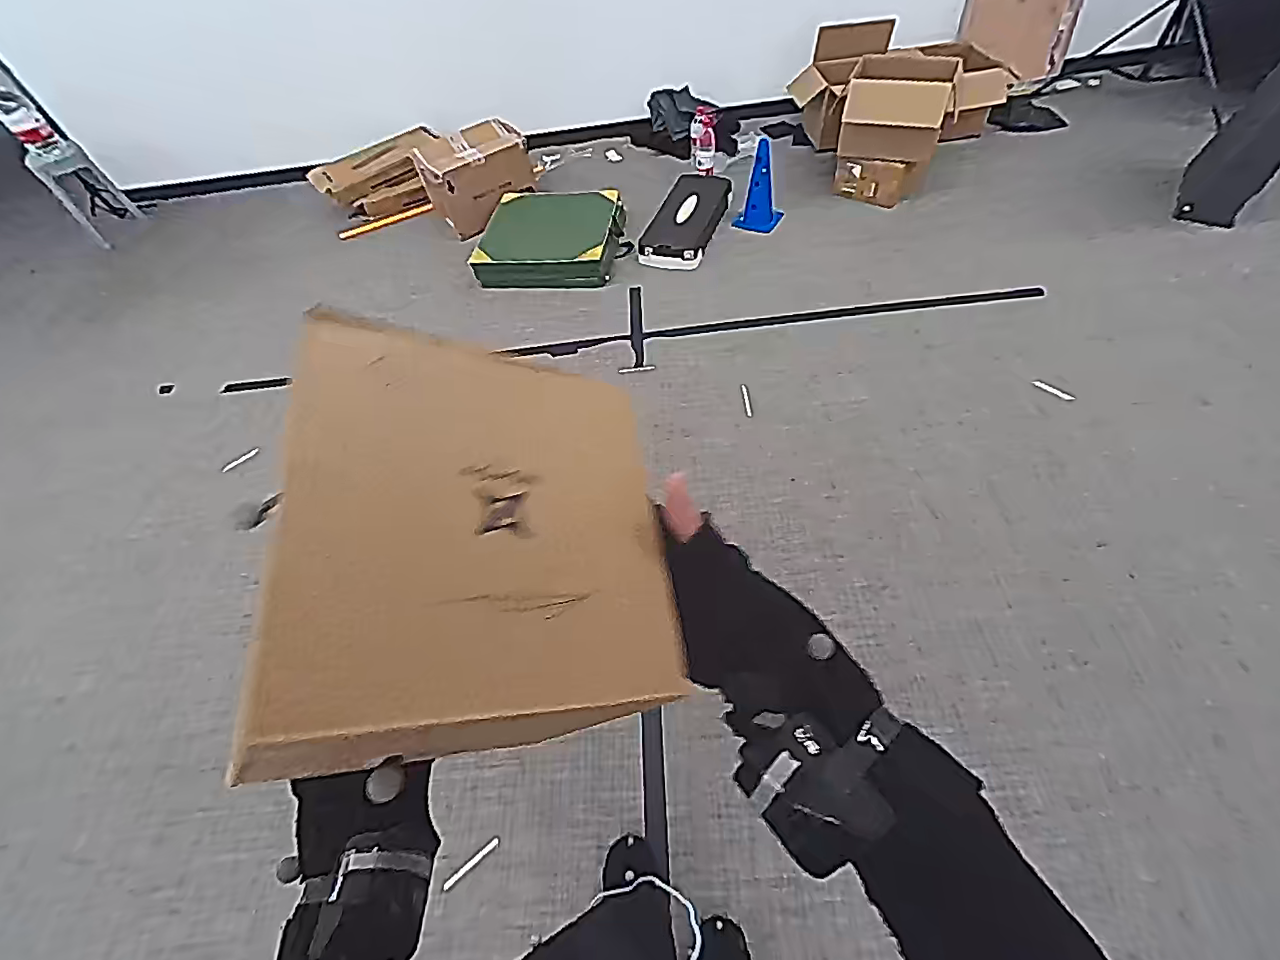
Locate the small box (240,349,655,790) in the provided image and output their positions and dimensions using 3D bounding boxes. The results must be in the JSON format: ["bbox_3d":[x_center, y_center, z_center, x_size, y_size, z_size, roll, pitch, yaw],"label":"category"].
[{"bbox_3d":[-0.116,0.061,0.311,0.168,0.176,0.179,8,57,-31],"label":"small box"}]
